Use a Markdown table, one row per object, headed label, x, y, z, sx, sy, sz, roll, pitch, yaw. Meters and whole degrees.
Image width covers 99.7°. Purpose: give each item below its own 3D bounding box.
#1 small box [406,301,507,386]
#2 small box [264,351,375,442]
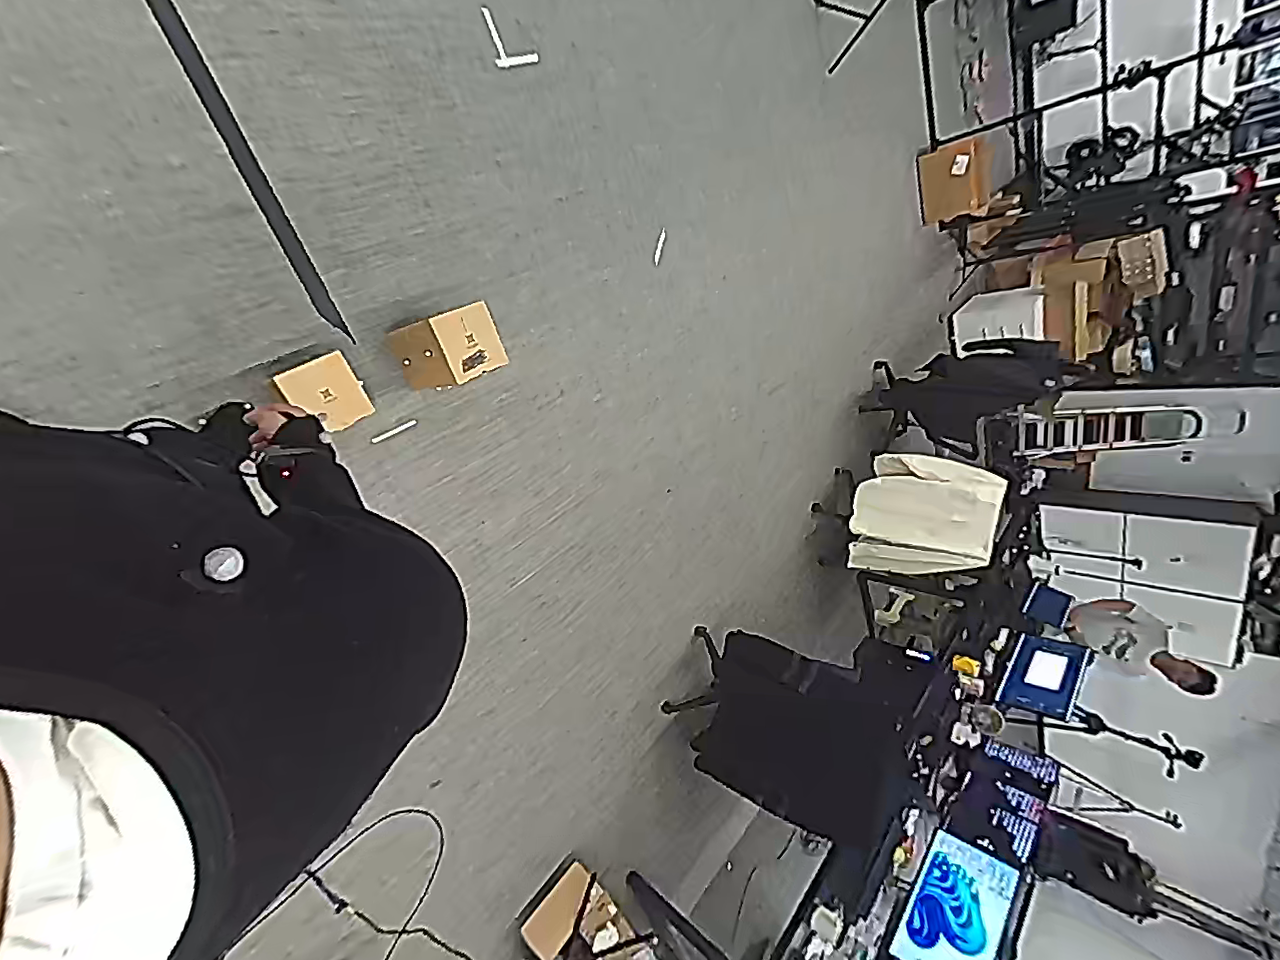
| label | x | y | z | sx | sy | sz | roll | pitch | yaw |
| --- | --- | --- | --- | --- | --- | --- | --- | --- | --- |
| small box | -0.494 | -0.361 | 1.452 | 0.168 | 0.176 | 0.179 | -36 | 116 | -35 |
| small box | -0.828 | -0.211 | 1.391 | 0.168 | 0.176 | 0.179 | -40 | 120 | -32 |
